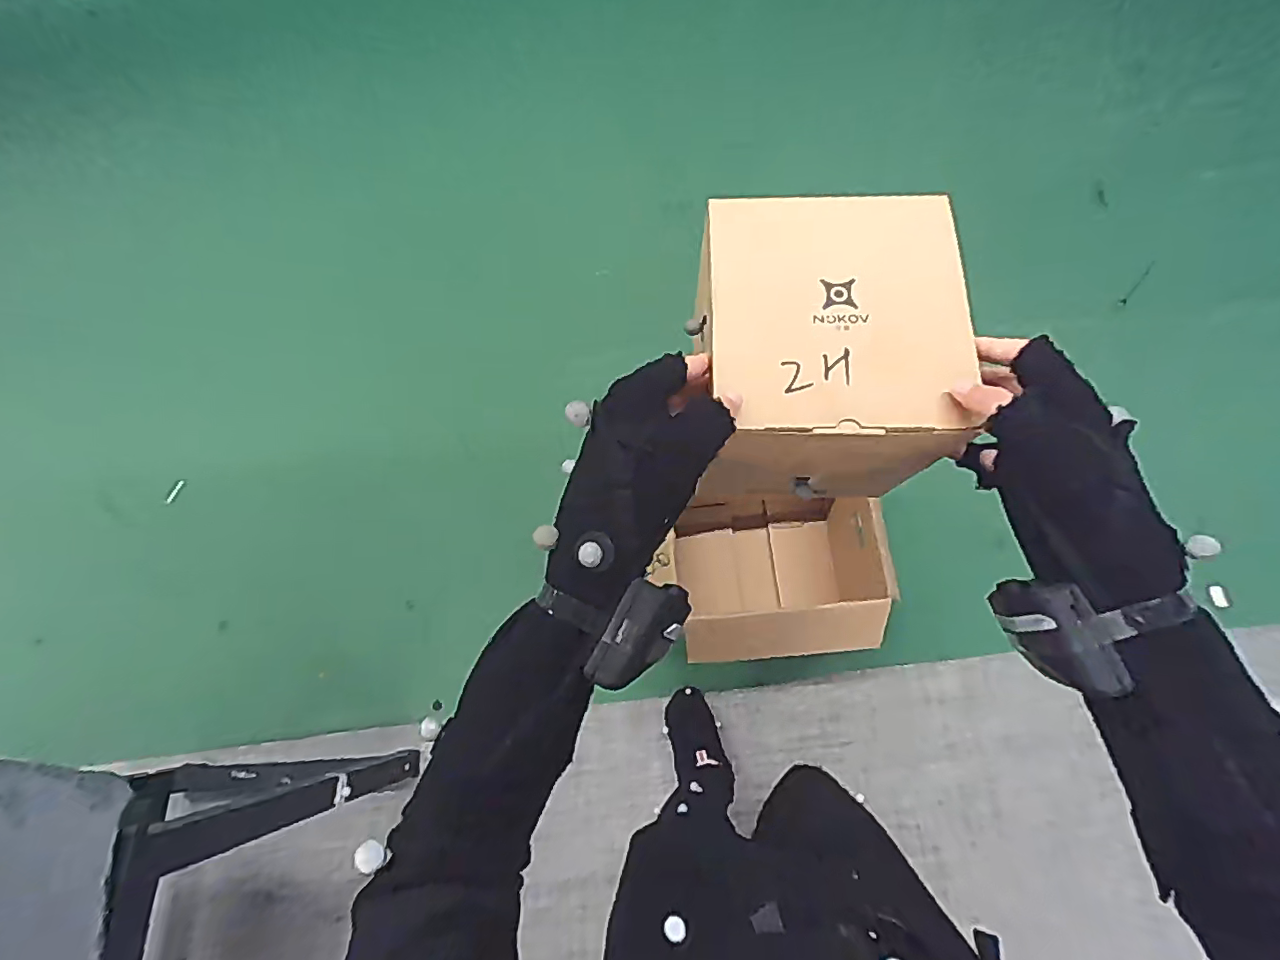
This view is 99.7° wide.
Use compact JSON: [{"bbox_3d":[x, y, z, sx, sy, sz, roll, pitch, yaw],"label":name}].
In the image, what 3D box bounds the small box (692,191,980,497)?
[{"bbox_3d":[0.128,-0.094,0.427,0.168,0.176,0.179,1,74,3],"label":"small box"}]
